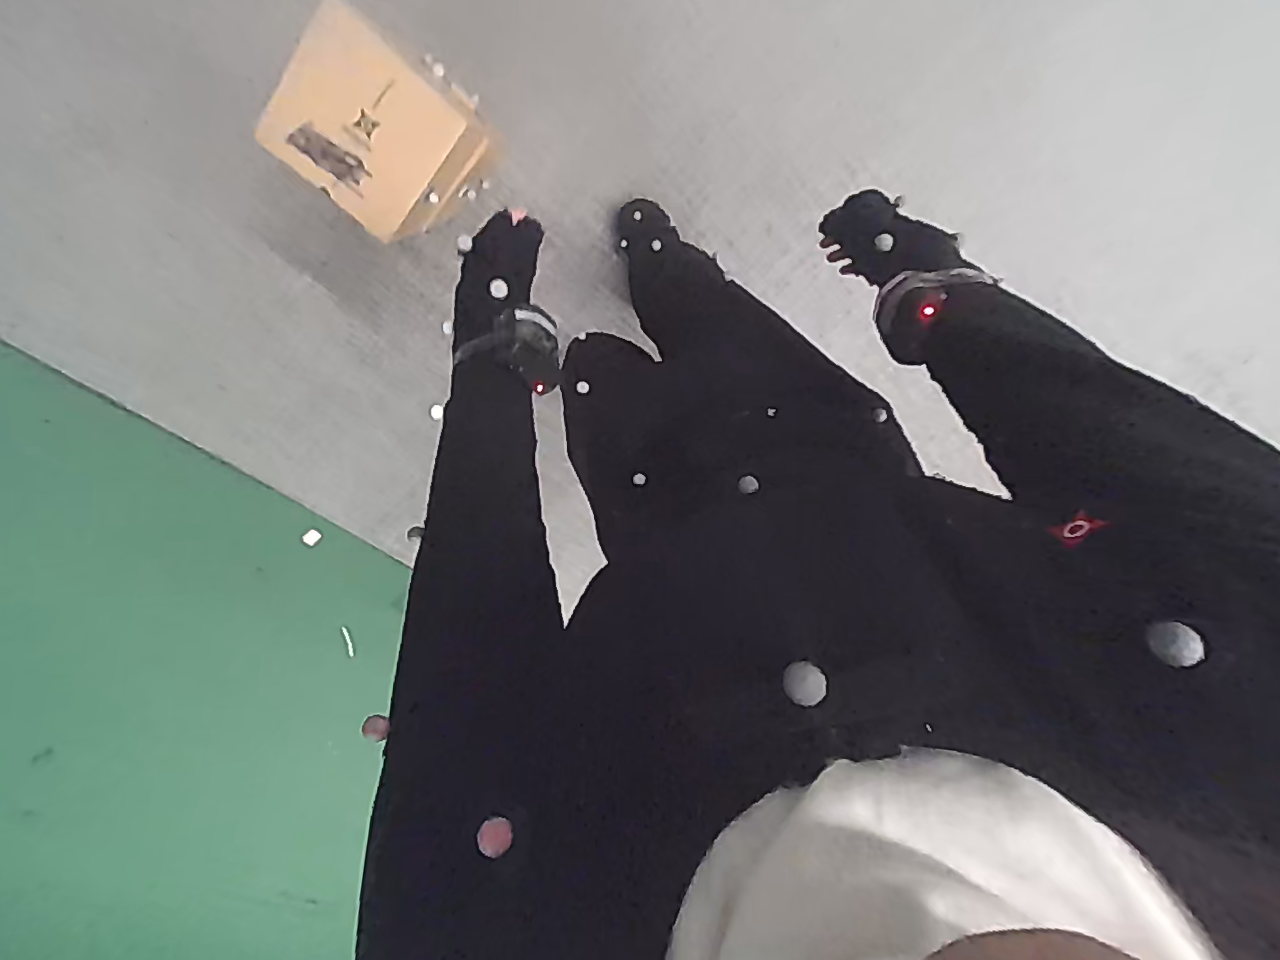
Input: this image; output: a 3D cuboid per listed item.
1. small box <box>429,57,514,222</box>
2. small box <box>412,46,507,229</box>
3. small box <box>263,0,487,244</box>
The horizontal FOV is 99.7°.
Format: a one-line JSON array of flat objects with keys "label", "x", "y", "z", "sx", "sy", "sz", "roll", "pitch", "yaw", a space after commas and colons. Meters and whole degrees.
[{"label": "small box", "x": -0.339, "y": -0.594, "z": 0.959, "sx": 0.179, "sy": 0.176, "sz": 0.168, "roll": -41, "pitch": 116, "yaw": 16}, {"label": "small box", "x": -0.324, "y": -0.514, "z": 0.818, "sx": 0.168, "sy": 0.176, "sz": 0.179, "roll": -41, "pitch": 117, "yaw": 19}, {"label": "small box", "x": -0.312, "y": -0.431, "z": 0.677, "sx": 0.168, "sy": 0.176, "sz": 0.179, "roll": 38, "pitch": 110, "yaw": -24}]
